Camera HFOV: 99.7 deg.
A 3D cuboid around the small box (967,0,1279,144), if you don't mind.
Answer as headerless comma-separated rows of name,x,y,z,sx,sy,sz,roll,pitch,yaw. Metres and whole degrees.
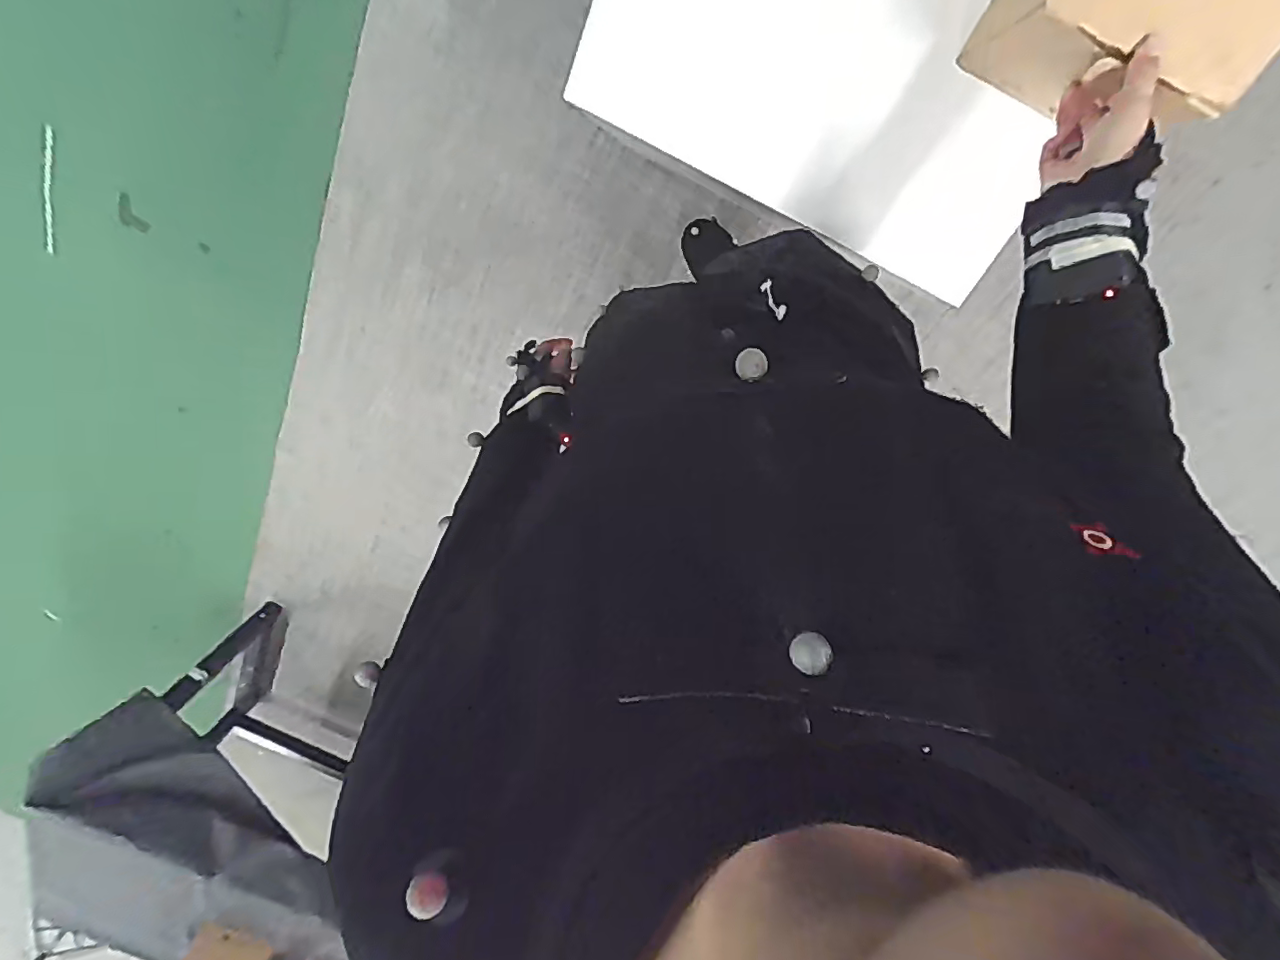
small box,0.403,-0.401,0.433,0.168,0.176,0.179,25,116,-5
